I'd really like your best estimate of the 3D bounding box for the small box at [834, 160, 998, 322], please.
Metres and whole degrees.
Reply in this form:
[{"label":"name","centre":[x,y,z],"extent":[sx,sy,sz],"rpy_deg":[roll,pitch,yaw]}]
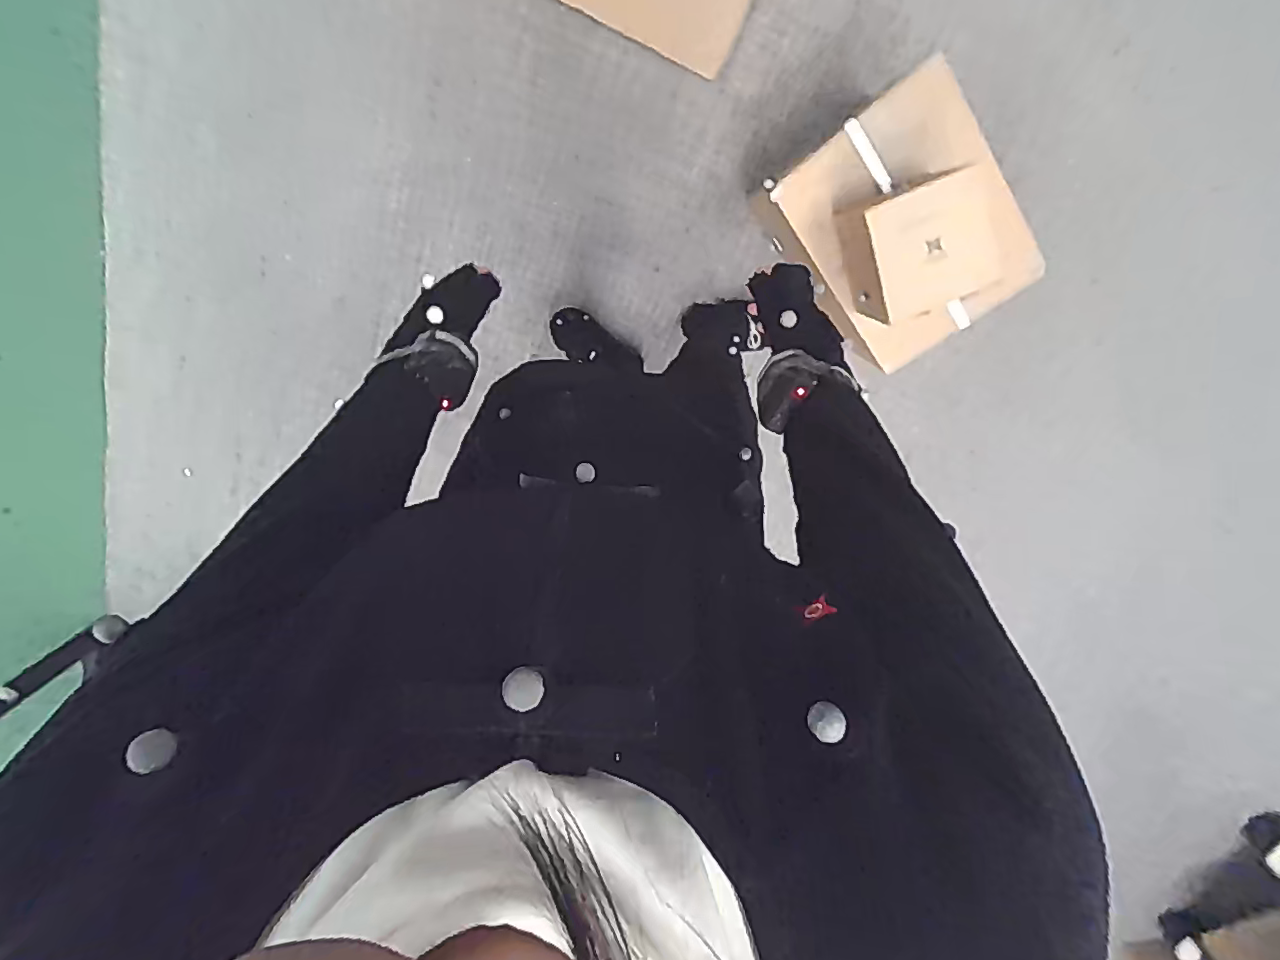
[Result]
[{"label":"small box","centre":[0.430,-0.376,0.863],"extent":[0.168,0.176,0.179],"rpy_deg":[-21,110,12]}]
